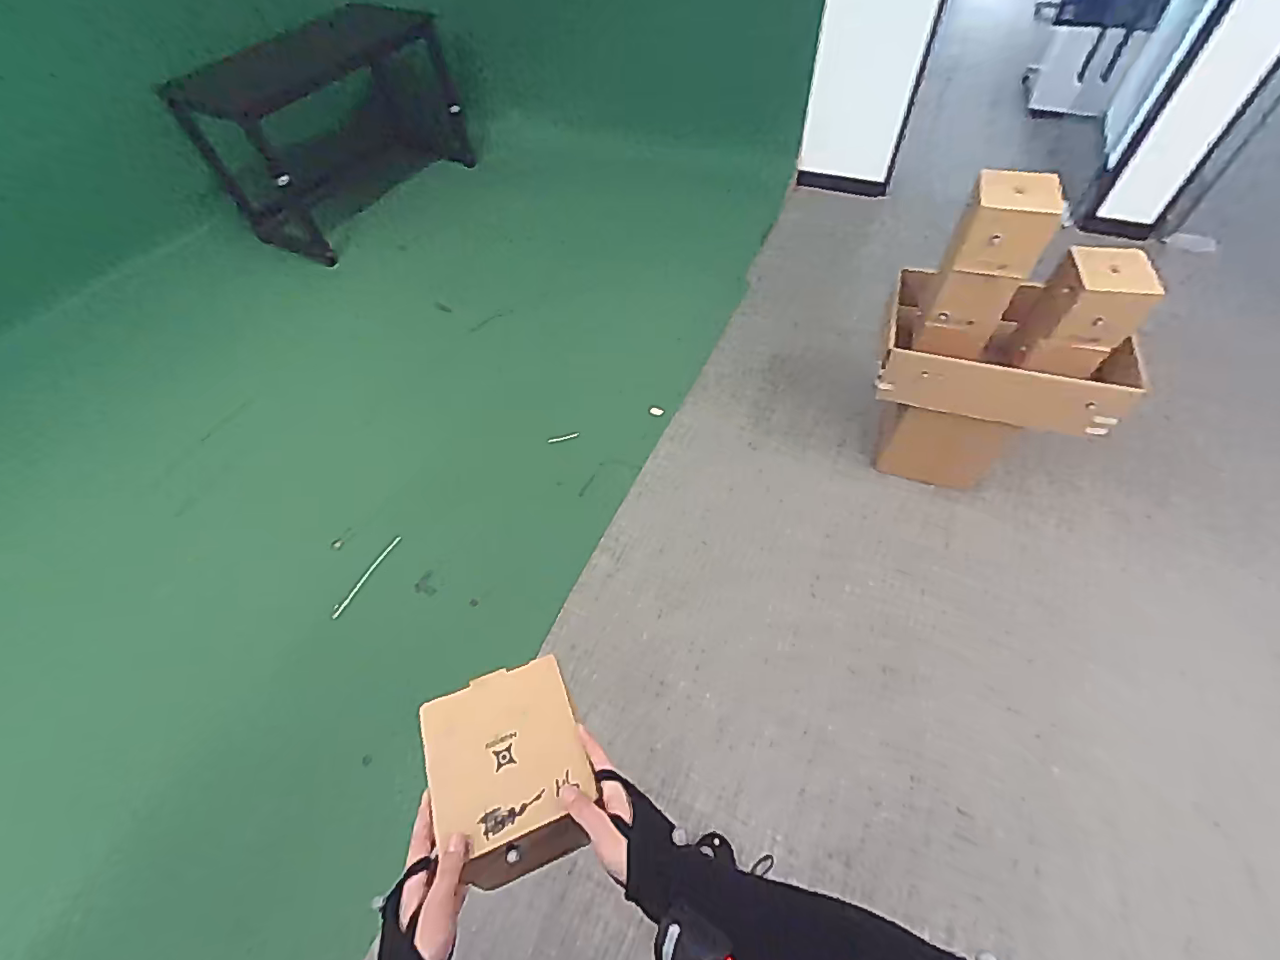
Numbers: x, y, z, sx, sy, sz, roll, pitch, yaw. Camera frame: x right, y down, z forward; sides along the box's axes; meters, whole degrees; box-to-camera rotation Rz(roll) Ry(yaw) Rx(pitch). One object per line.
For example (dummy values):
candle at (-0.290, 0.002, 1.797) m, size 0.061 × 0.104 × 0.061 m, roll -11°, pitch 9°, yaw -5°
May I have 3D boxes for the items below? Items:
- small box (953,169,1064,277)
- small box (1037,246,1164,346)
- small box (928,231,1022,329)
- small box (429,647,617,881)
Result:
small box at (0.868, -0.610, 1.290) m, size 0.168 × 0.176 × 0.179 m, roll 13°, pitch 57°, yaw 14°
small box at (1.145, -0.459, 1.361) m, size 0.168 × 0.176 × 0.179 m, roll 9°, pitch 57°, yaw 9°
small box at (0.878, -0.523, 1.426) m, size 0.168 × 0.176 × 0.179 m, roll 15°, pitch 57°, yaw 15°
small box at (-0.134, 0.336, 0.641) m, size 0.168 × 0.176 × 0.179 m, roll -18°, pitch 49°, yaw -12°
